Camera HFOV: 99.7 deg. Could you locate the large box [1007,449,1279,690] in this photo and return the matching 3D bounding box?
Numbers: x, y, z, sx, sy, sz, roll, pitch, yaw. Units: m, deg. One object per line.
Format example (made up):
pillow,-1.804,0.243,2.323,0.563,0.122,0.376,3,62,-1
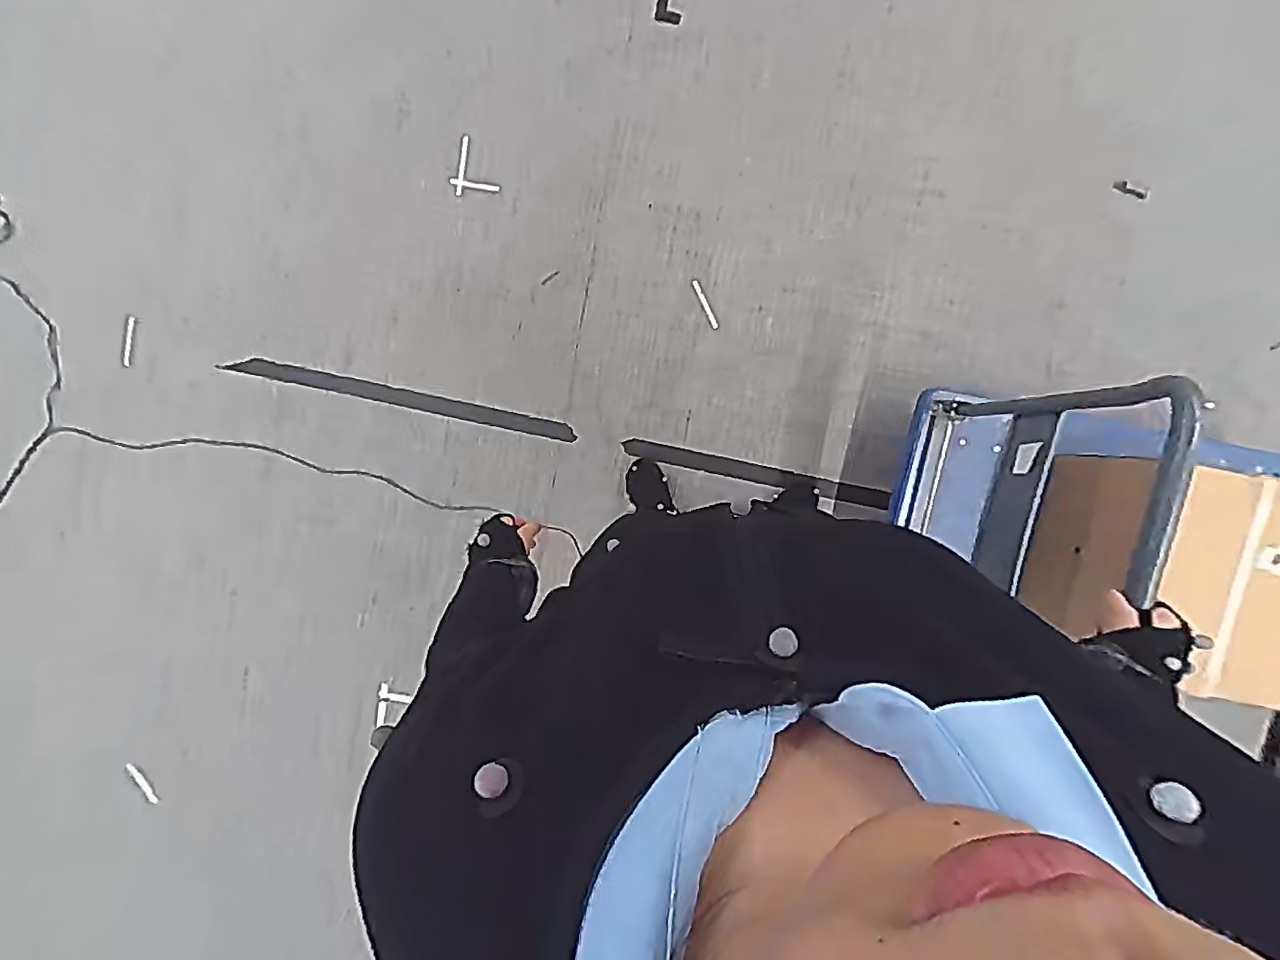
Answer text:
large box,1.058,0.161,1.141,0.320,0.320,0.408,12,94,1
